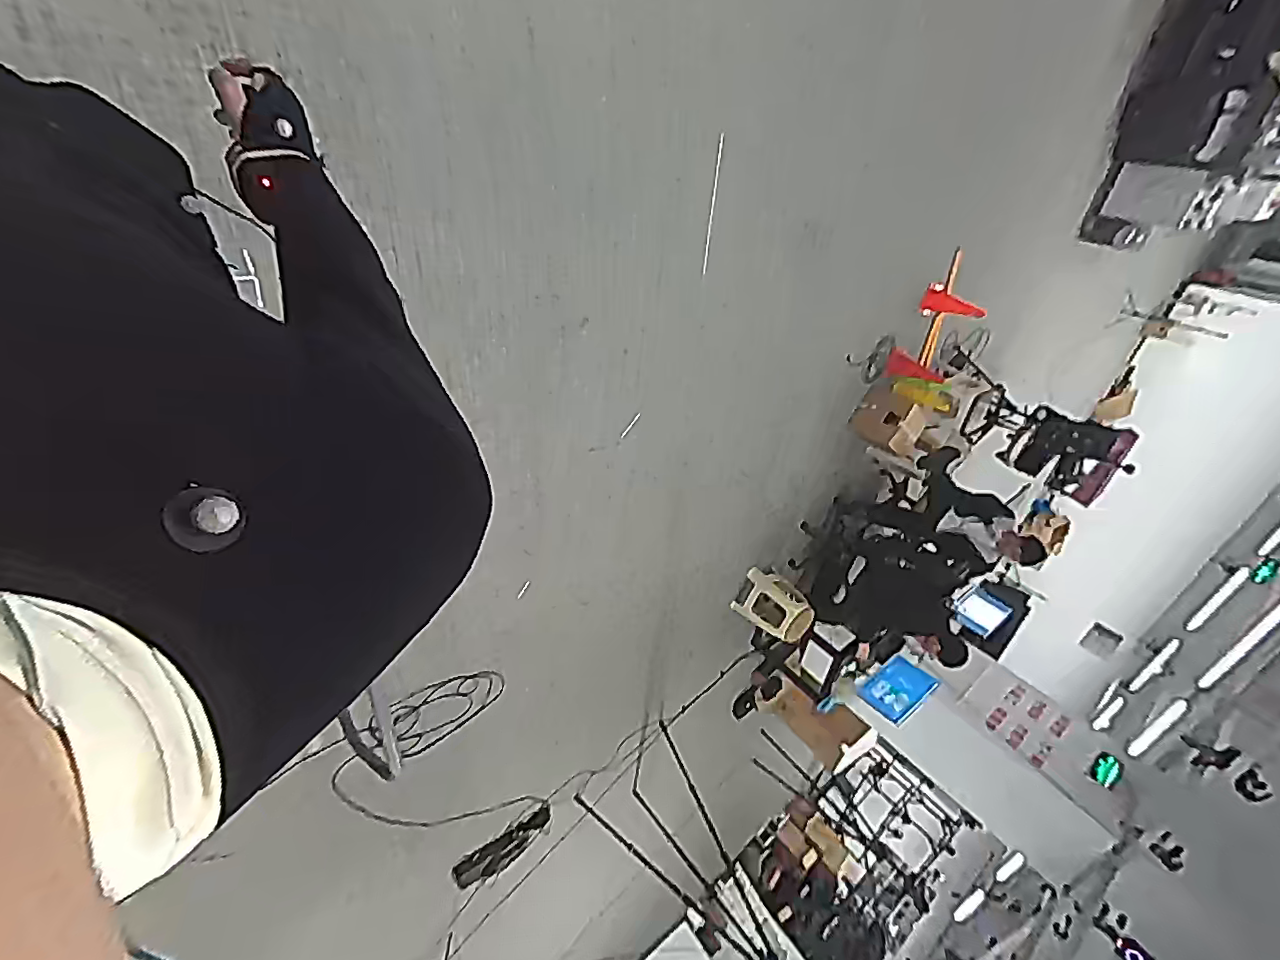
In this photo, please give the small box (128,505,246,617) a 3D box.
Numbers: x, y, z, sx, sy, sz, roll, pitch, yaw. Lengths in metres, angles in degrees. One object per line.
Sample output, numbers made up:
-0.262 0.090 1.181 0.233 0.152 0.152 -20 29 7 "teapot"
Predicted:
-1.062 0.179 1.268 0.168 0.176 0.179 -21 132 -32 "small box"
